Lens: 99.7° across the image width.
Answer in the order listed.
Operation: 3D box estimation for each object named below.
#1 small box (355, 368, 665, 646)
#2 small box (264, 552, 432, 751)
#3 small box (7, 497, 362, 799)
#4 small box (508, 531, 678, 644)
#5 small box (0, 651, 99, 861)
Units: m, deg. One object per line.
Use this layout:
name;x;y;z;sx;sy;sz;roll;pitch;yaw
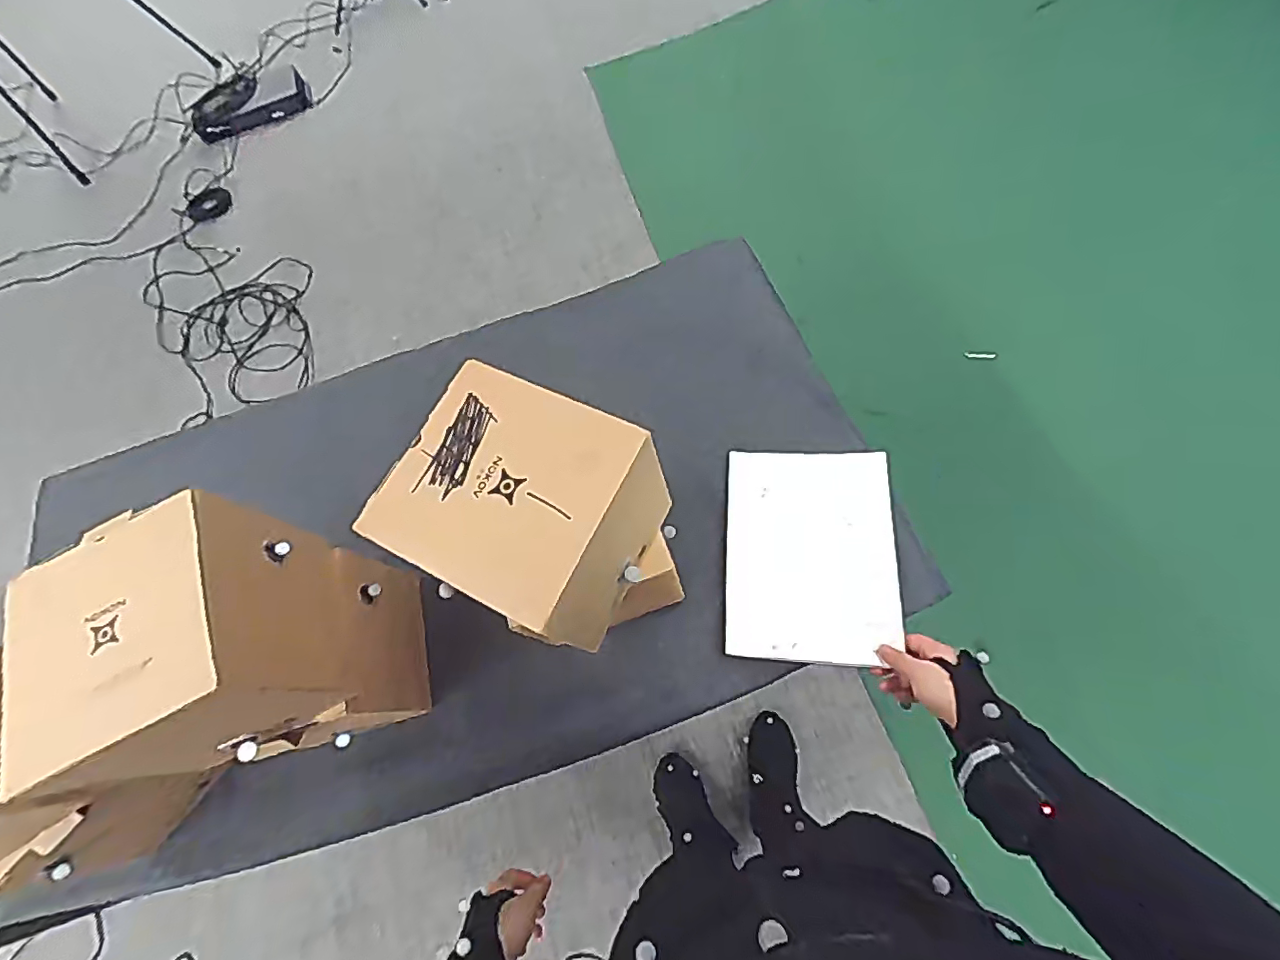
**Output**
small box;-0.095;0.034;0.480;0.179;0.176;0.168;24;75;17
small box;-0.366;0.207;0.634;0.168;0.176;0.179;-18;66;3
small box;-0.387;0.148;0.484;0.168;0.176;0.179;-28;67;-1
small box;-0.061;0.081;0.634;0.179;0.176;0.168;-21;66;2
small box;-0.650;0.268;0.478;0.179;0.176;0.168;-34;67;-4
